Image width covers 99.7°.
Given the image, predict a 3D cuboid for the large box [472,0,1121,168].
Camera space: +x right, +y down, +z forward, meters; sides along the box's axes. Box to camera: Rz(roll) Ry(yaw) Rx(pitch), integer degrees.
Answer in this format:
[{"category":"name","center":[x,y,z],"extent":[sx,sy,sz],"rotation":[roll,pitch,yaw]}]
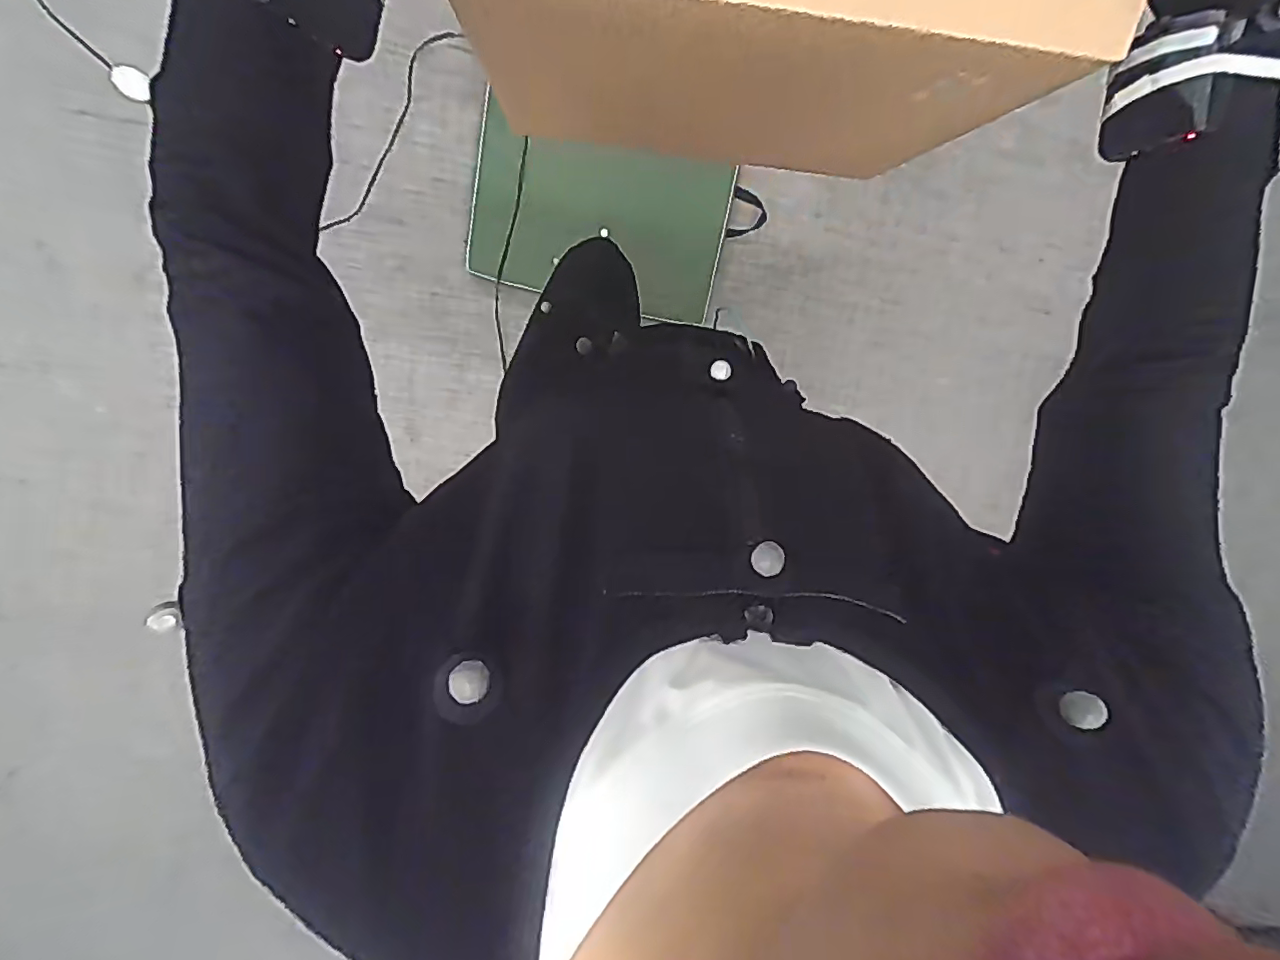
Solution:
[{"category":"large box","center":[0.089,-0.463,0.411],"extent":[0.408,0.320,0.320],"rotation":[3,108,-6]}]
